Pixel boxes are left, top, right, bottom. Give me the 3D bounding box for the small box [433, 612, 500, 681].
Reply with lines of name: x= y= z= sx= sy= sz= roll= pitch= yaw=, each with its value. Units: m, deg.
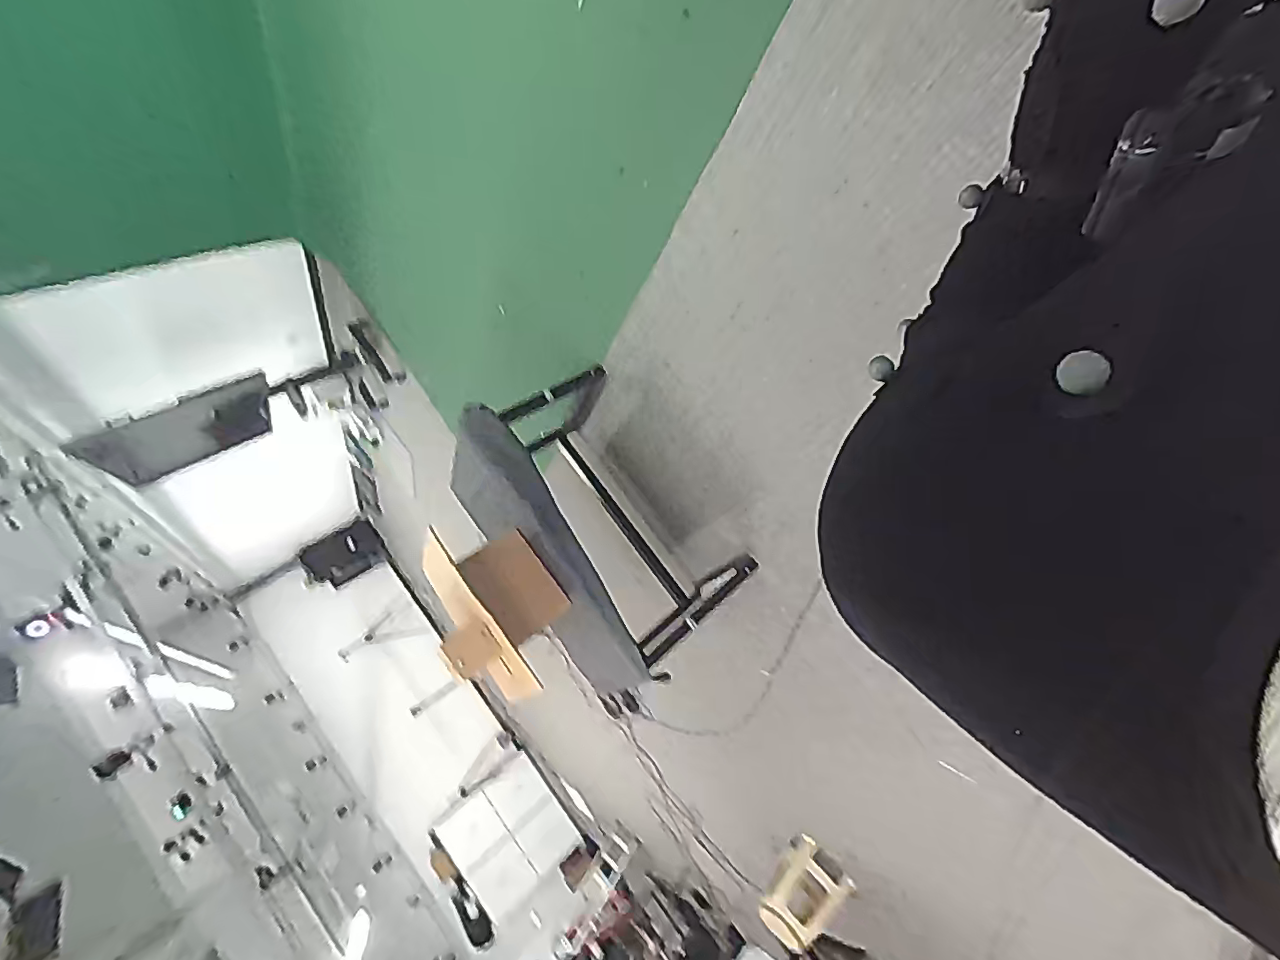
small box: x=-0.635 y=0.610 z=1.983 sx=0.168 sy=0.176 sz=0.179 roll=52 pitch=147 yaw=6
